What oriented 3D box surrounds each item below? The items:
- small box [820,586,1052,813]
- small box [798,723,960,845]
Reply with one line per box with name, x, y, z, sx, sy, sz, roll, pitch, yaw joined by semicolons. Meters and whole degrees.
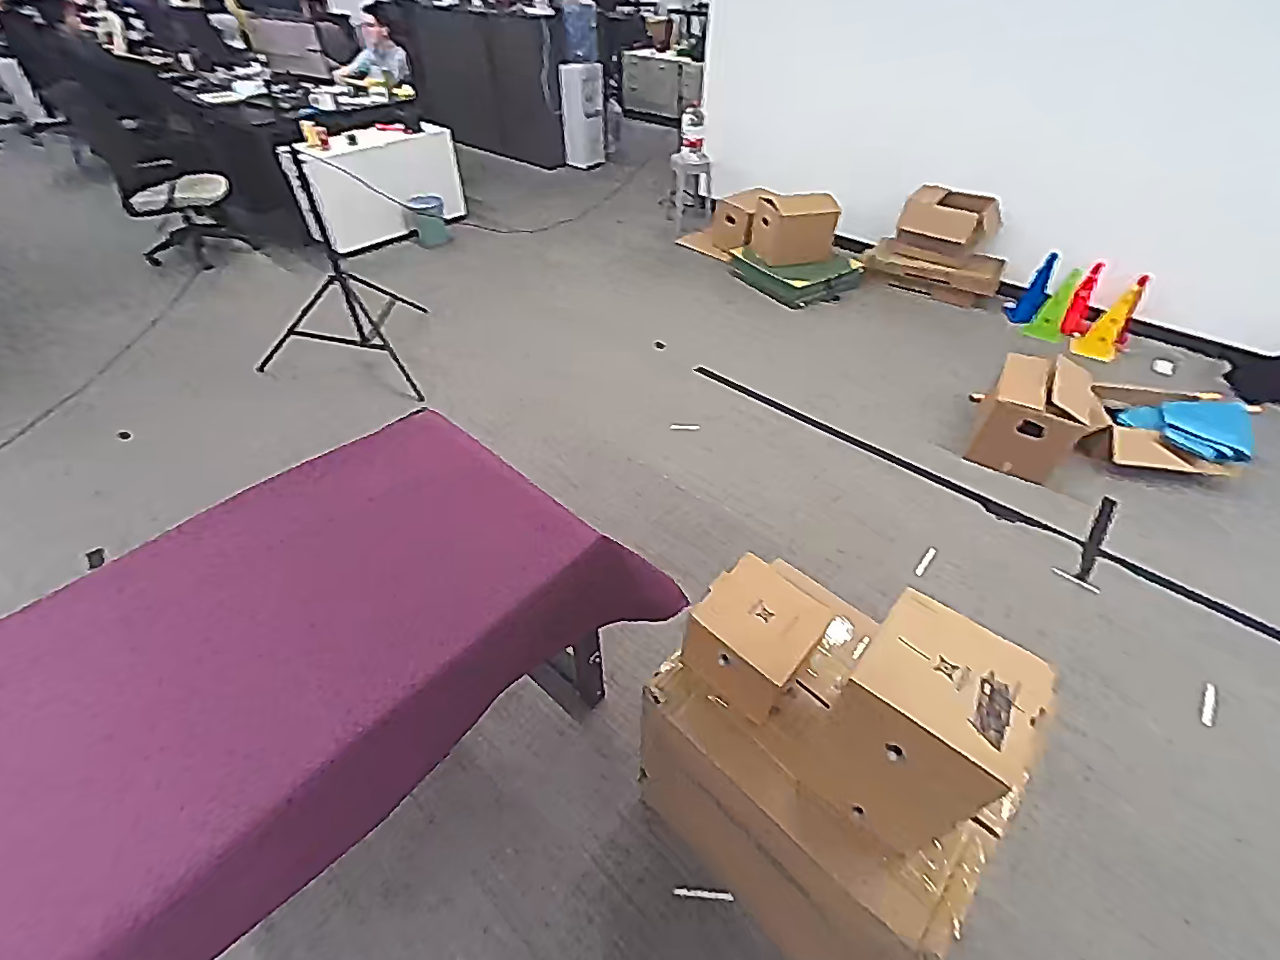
small box;0.351;0.273;0.666;0.179;0.176;0.168;31;53;29
small box;0.354;0.390;0.783;0.179;0.176;0.168;27;51;25
